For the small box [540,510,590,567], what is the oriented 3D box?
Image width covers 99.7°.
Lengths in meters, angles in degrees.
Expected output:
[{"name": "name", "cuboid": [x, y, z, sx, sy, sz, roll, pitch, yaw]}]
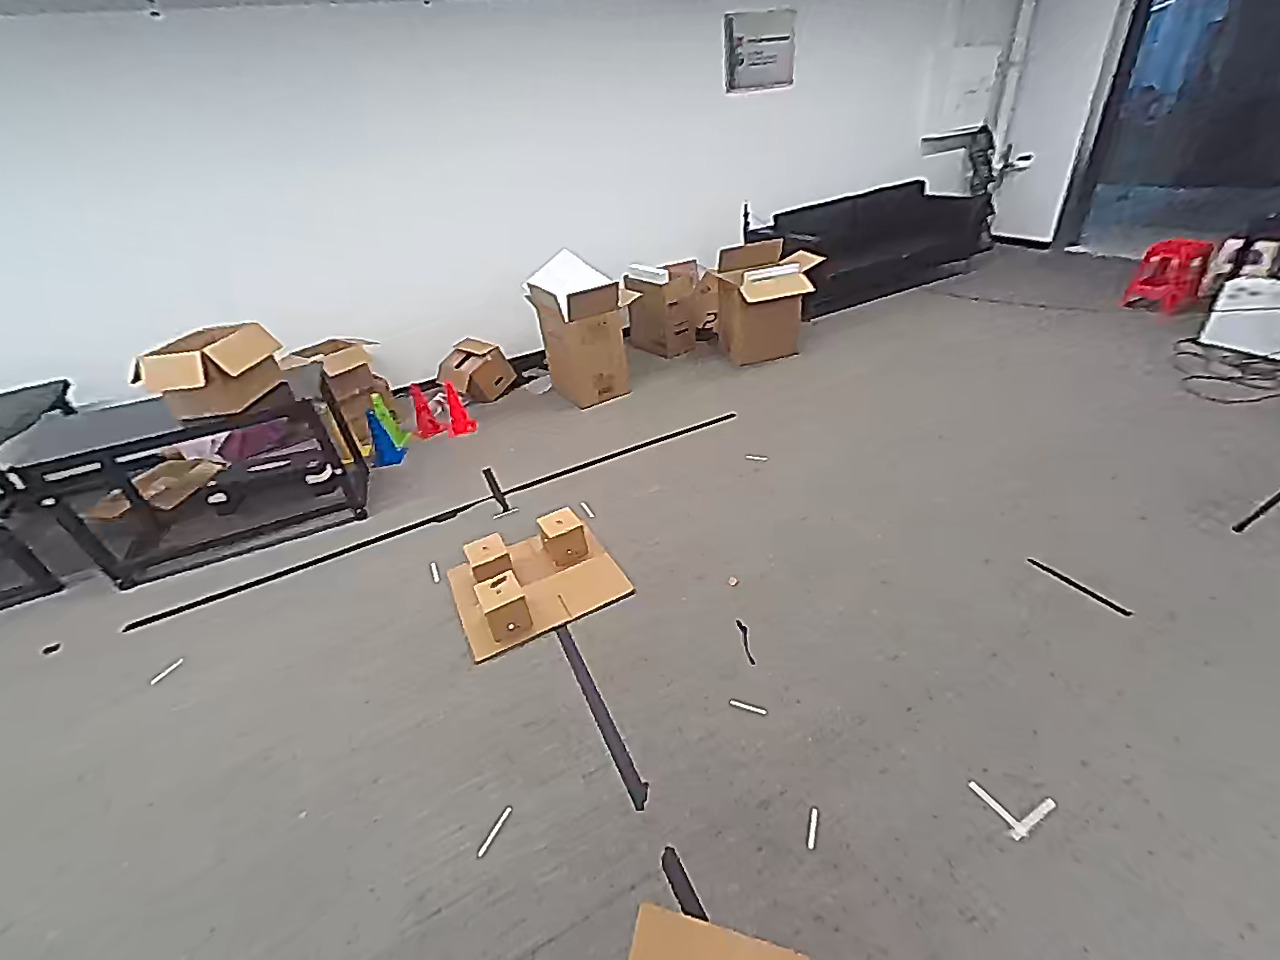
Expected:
[{"name": "small box", "cuboid": [-0.351, 0.276, 2.529, 0.168, 0.176, 0.179, -23, 36, -22]}]

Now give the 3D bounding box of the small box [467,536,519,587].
[{"name": "small box", "cuboid": [-0.656, 0.384, 2.414, 0.168, 0.176, 0.179, -22, 36, -19]}]

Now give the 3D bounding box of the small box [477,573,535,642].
[{"name": "small box", "cuboid": [-0.542, 0.517, 2.189, 0.168, 0.176, 0.179, -22, 37, -20]}]
